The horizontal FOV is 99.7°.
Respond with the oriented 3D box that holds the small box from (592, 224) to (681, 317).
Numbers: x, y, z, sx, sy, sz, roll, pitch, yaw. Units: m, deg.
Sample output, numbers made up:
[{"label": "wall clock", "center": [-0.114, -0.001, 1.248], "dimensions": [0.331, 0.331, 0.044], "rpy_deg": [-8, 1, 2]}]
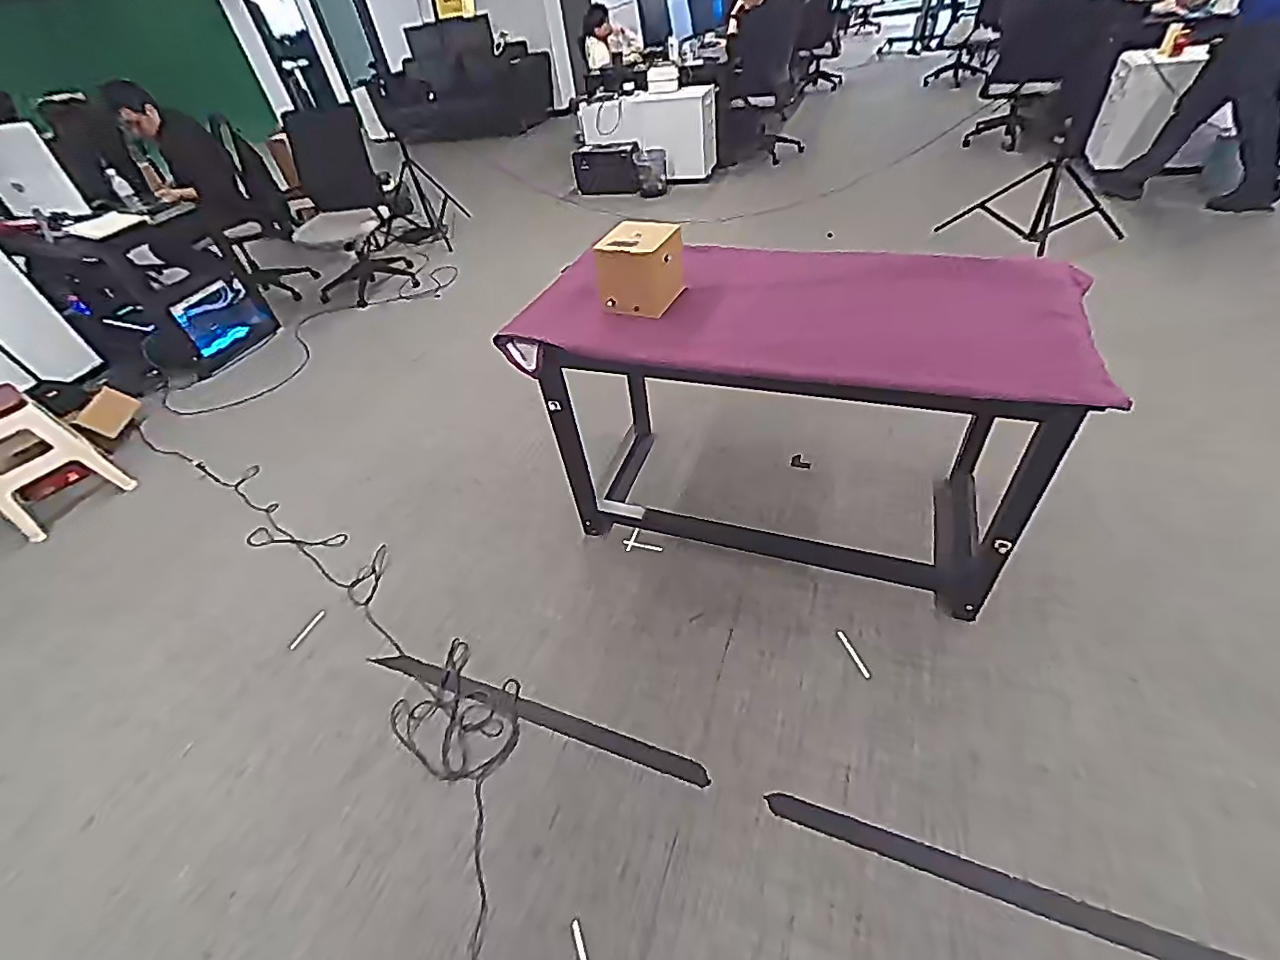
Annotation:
[{"label": "small box", "center": [0.000, -0.538, 1.388], "dimensions": [0.168, 0.176, 0.179], "rpy_deg": [15, 49, 23]}]
